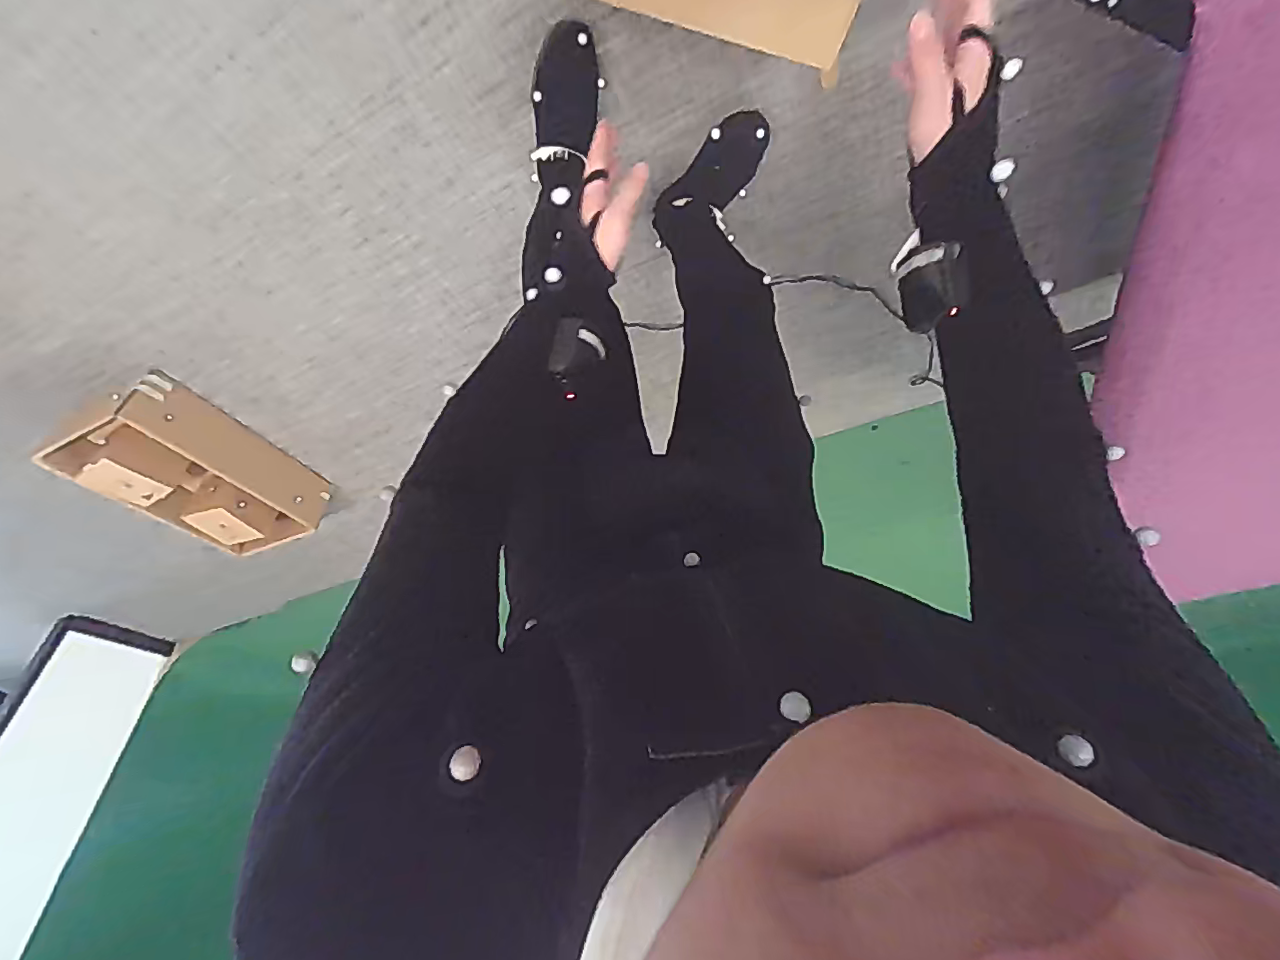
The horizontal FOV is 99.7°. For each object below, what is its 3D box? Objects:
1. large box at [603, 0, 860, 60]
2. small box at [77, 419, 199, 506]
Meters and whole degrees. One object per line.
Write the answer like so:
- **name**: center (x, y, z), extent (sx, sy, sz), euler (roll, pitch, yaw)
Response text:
- **large box**: center (0.096, -0.794, 0.665), extent (0.408, 0.320, 0.320), euler (6, 143, -12)
- **small box**: center (-1.455, -0.056, 1.578), extent (0.168, 0.176, 0.179), euler (-21, 139, 22)
